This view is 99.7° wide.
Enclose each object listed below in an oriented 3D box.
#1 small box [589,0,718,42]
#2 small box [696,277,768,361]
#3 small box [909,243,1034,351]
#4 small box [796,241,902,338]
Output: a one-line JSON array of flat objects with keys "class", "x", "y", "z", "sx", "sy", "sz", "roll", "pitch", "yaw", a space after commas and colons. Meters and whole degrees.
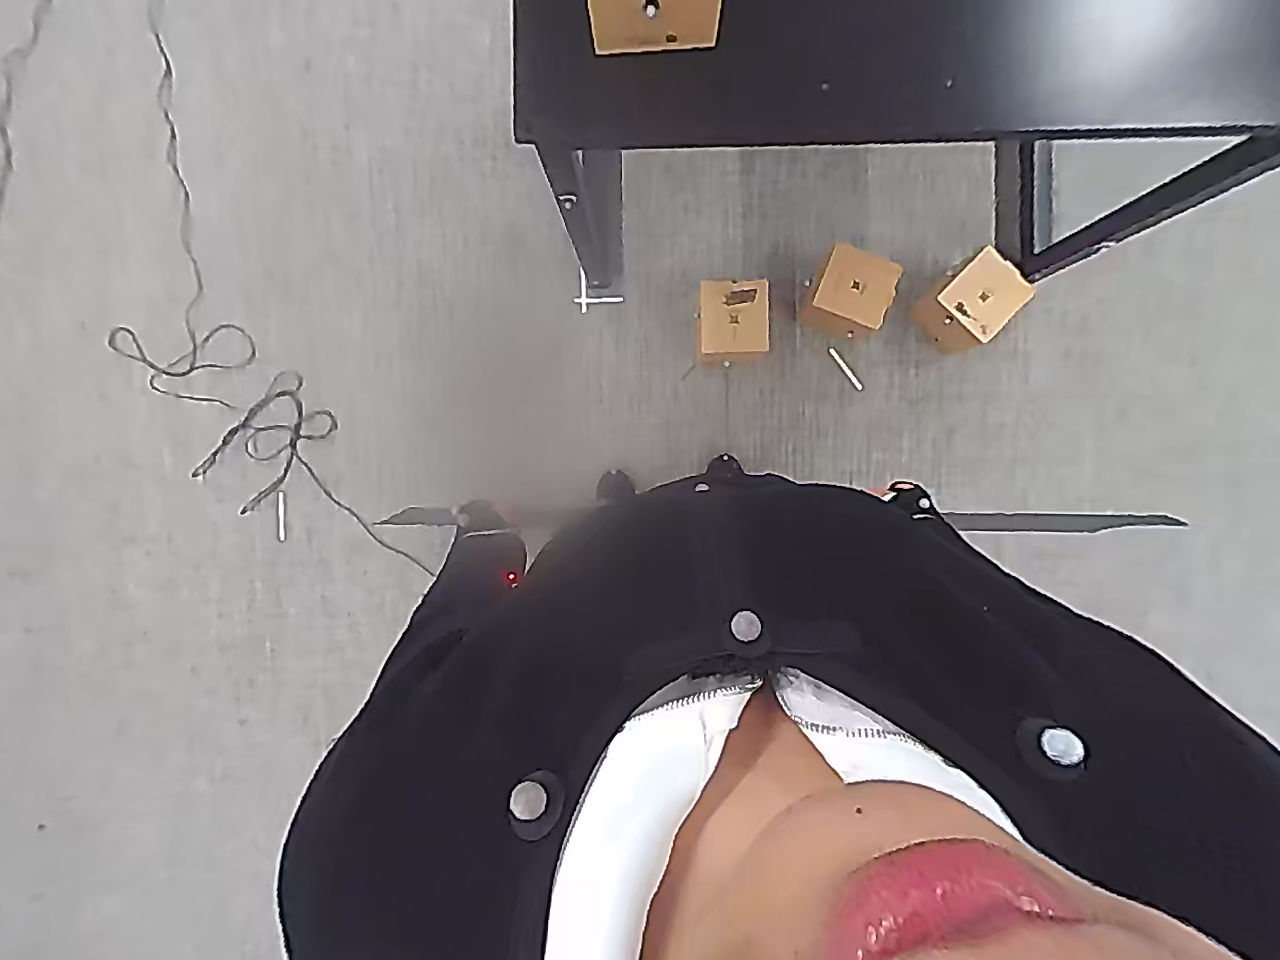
[{"class": "small box", "x": 0.015, "y": -0.677, "z": 0.660, "sx": 0.168, "sy": 0.176, "sz": 0.179, "roll": -3, "pitch": 92, "yaw": 1}, {"class": "small box", "x": 0.233, "y": -0.410, "z": 1.397, "sx": 0.168, "sy": 0.176, "sz": 0.179, "roll": -1, "pitch": 94, "yaw": 2}, {"class": "small box", "x": 0.829, "y": -0.455, "z": 1.374, "sx": 0.168, "sy": 0.176, "sz": 0.179, "roll": 43, "pitch": 93, "yaw": 0}, {"class": "small box", "x": 0.527, "y": -0.477, "z": 1.385, "sx": 0.179, "sy": 0.176, "sz": 0.168, "roll": 21, "pitch": 92, "yaw": 2}]
